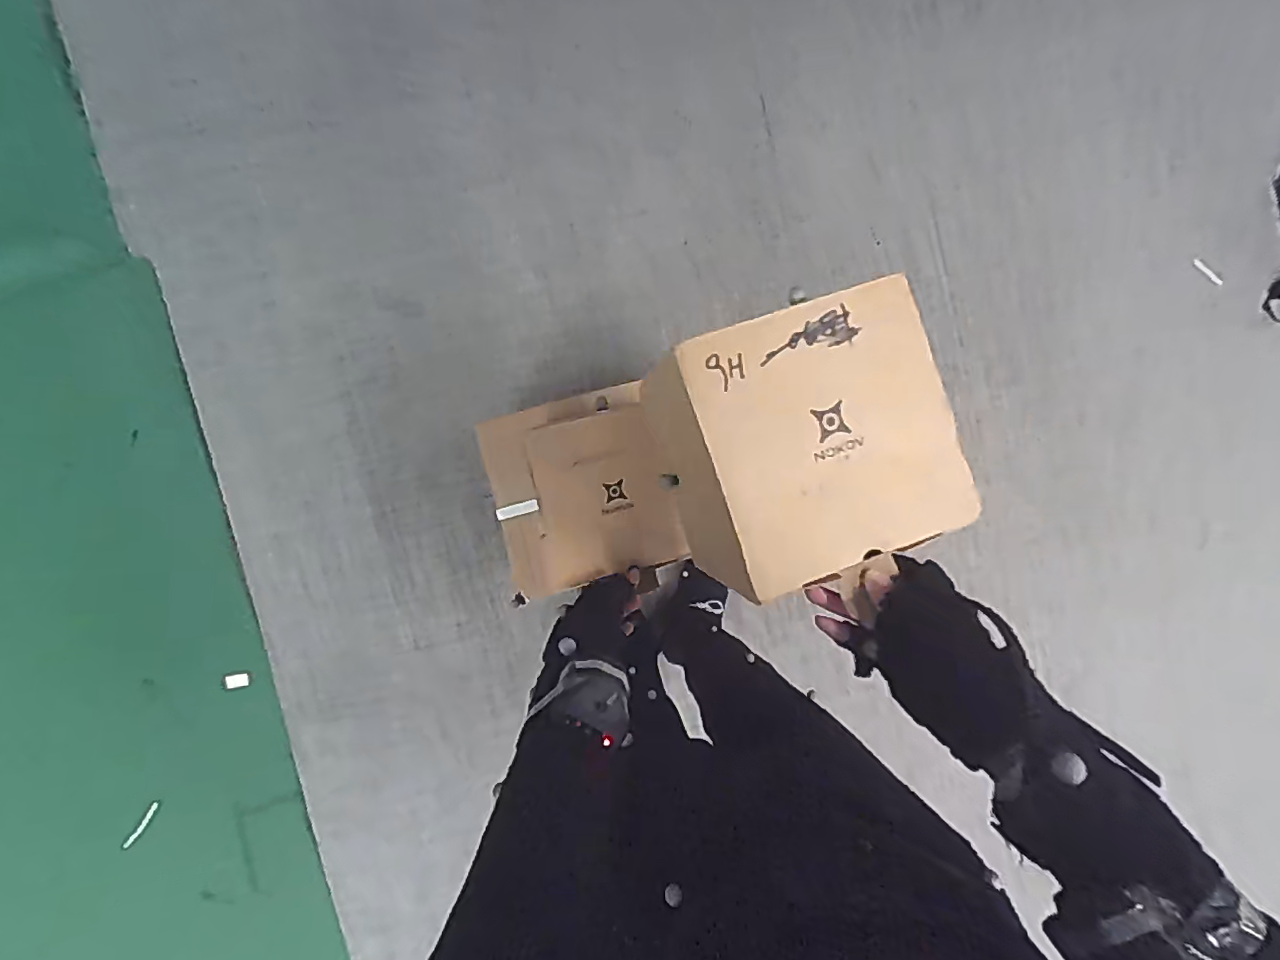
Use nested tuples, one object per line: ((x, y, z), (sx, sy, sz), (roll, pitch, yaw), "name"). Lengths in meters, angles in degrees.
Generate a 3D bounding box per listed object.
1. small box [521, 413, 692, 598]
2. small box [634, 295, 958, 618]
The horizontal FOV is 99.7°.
((-0.032, 0.017, 0.656), (0.168, 0.176, 0.179), (-15, 97, -3), "small box")
((0.104, -0.018, 0.434), (0.168, 0.176, 0.179), (-20, 93, -7), "small box")
